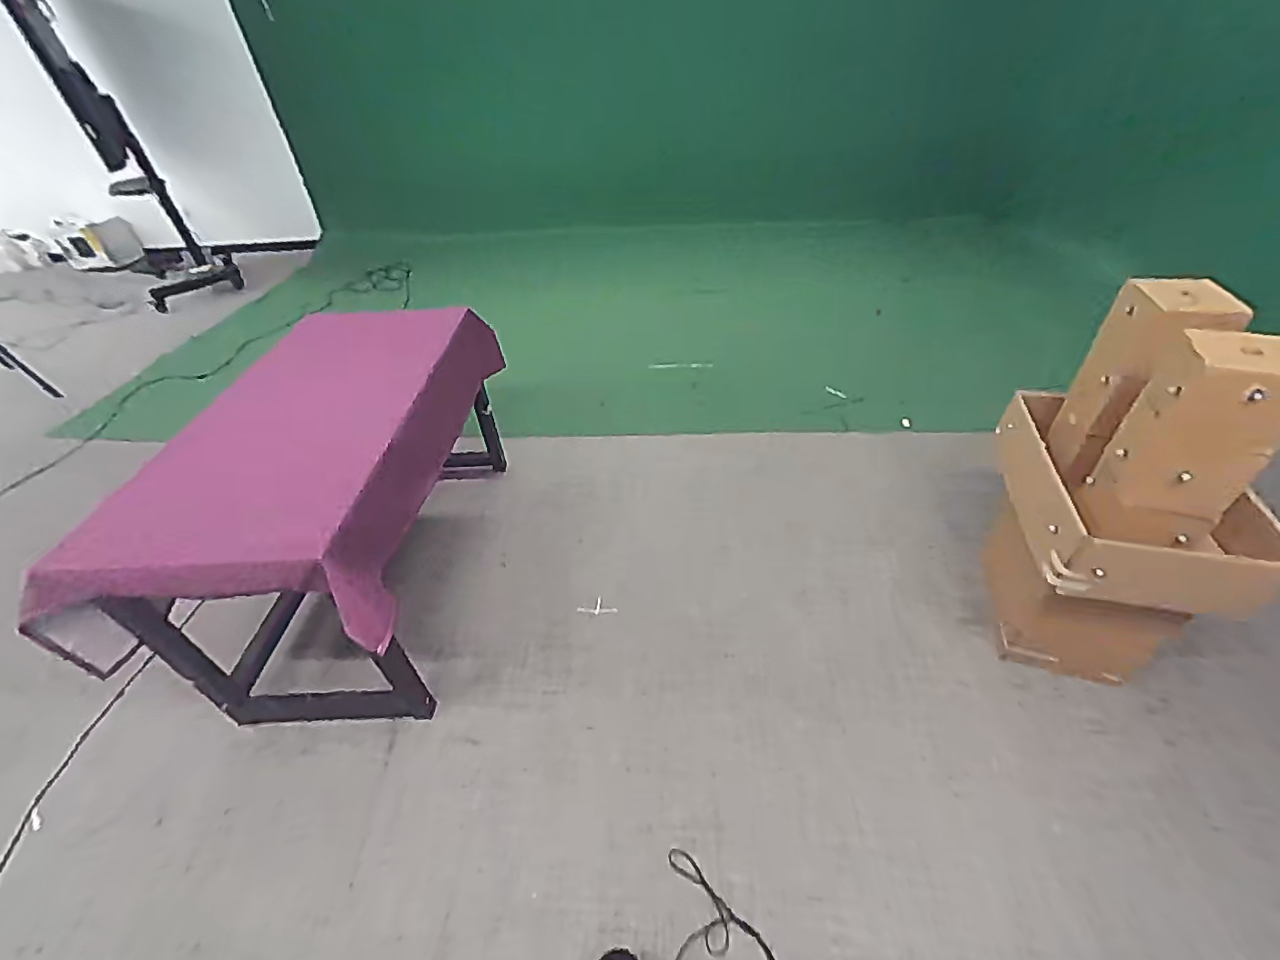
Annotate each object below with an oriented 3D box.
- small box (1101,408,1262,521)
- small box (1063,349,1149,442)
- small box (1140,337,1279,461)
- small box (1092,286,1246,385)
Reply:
[{"bbox_3d":[1.135,-0.033,1.158,0.179,0.176,0.168,11,43,18],"label":"small box"},{"bbox_3d":[1.216,-0.210,1.362,0.168,0.176,0.179,7,43,12],"label":"small box"},{"bbox_3d":[1.127,-0.158,1.052,0.179,0.176,0.168,14,44,18],"label":"small box"},{"bbox_3d":[1.205,-0.333,1.253,0.168,0.176,0.179,6,43,12],"label":"small box"}]
